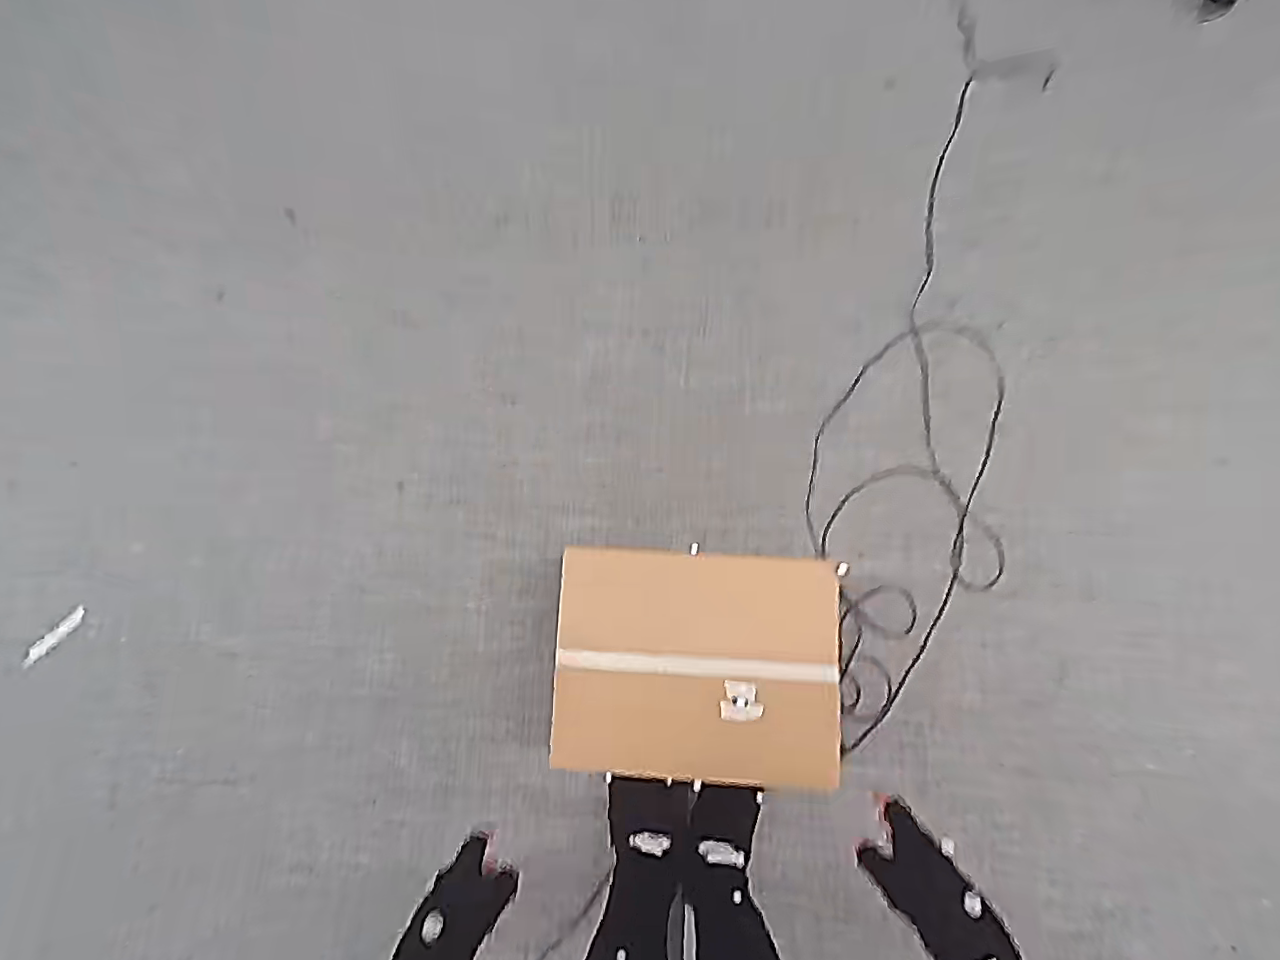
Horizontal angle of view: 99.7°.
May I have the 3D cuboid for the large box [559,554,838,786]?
[{"bbox_3d":[0.092,0.297,0.937,0.408,0.320,0.320,2,81,4],"label":"large box"}]
